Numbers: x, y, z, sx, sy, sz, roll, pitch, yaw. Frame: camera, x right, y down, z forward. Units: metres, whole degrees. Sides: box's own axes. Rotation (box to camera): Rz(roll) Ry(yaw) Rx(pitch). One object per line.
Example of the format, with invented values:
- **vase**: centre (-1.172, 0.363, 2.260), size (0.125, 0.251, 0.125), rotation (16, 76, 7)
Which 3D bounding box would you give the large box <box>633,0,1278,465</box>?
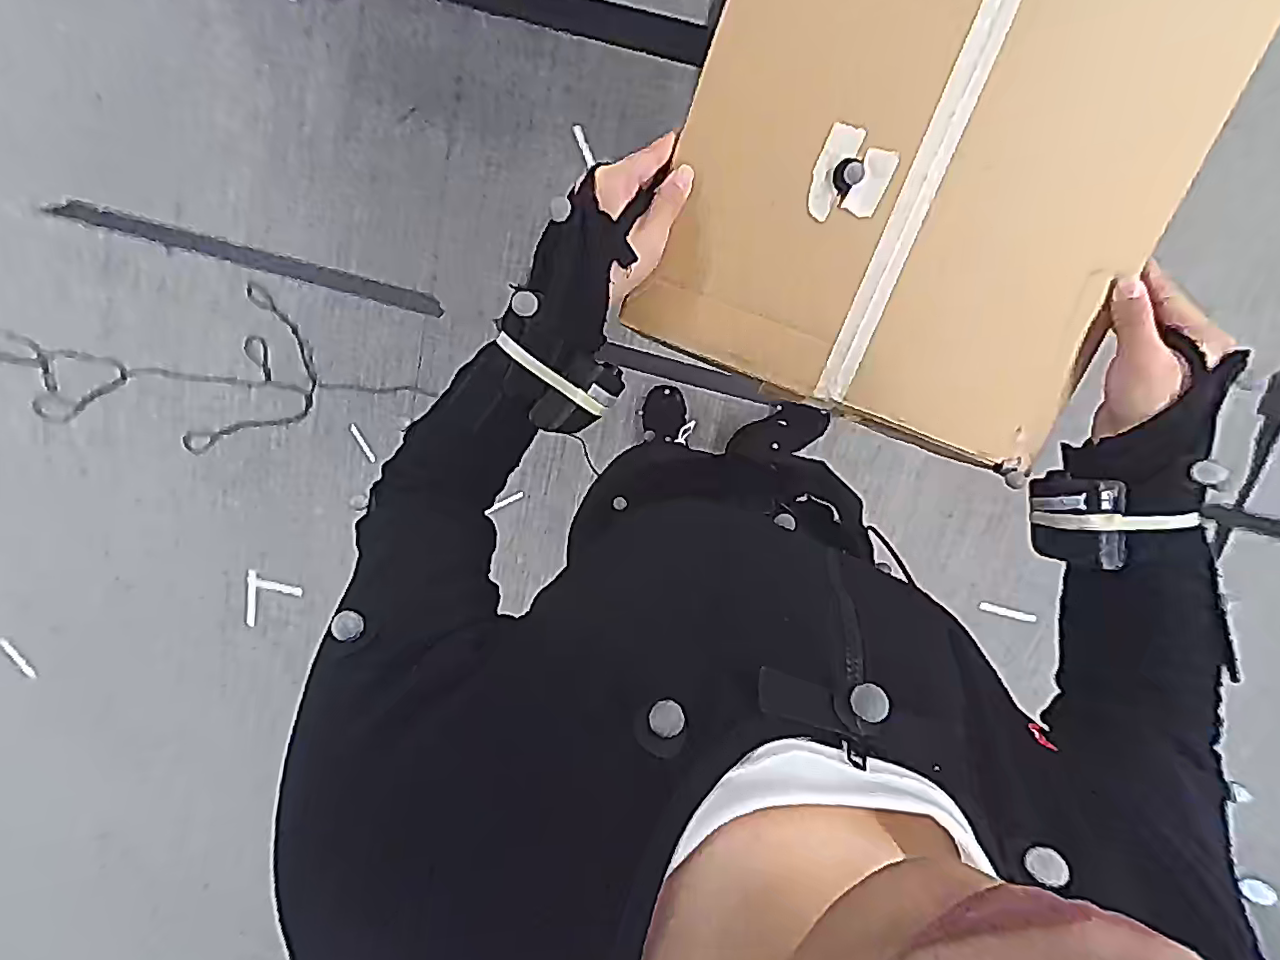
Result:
- **large box**: centre (0.206, -0.274, 0.478), size (0.320, 0.320, 0.408), rotation (19, 104, 0)
